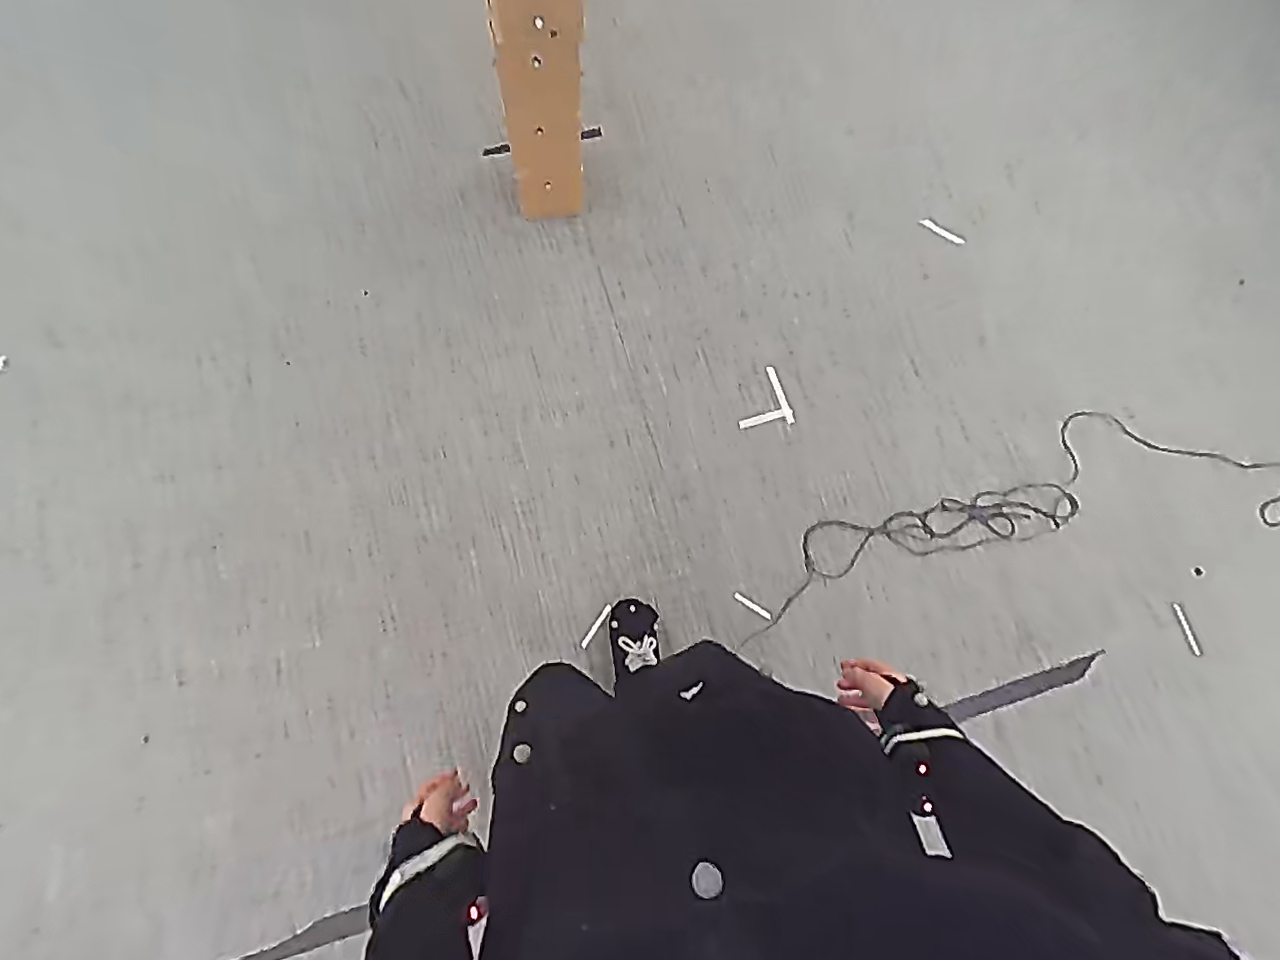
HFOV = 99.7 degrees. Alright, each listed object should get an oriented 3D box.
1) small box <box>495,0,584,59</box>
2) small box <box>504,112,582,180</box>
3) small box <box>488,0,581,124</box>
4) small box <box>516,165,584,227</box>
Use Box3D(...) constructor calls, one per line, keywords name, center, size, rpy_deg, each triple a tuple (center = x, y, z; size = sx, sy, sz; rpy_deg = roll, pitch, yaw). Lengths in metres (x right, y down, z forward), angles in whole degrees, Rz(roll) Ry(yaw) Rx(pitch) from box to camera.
Box3D(name="small box", center=(-0.199, -0.957, 1.038), size=(0.168, 0.176, 0.179), rpy_deg=(-8, 79, -6))
Box3D(name="small box", center=(-0.240, -0.879, 1.351), size=(0.179, 0.176, 0.168), rpy_deg=(-5, 78, -6))
Box3D(name="small box", center=(-0.227, -0.922, 1.196), size=(0.179, 0.176, 0.168), rpy_deg=(-7, 79, -8))
Box3D(name="small box", center=(-0.253, -0.834, 1.509), size=(0.179, 0.176, 0.168), rpy_deg=(-8, 78, -7))
